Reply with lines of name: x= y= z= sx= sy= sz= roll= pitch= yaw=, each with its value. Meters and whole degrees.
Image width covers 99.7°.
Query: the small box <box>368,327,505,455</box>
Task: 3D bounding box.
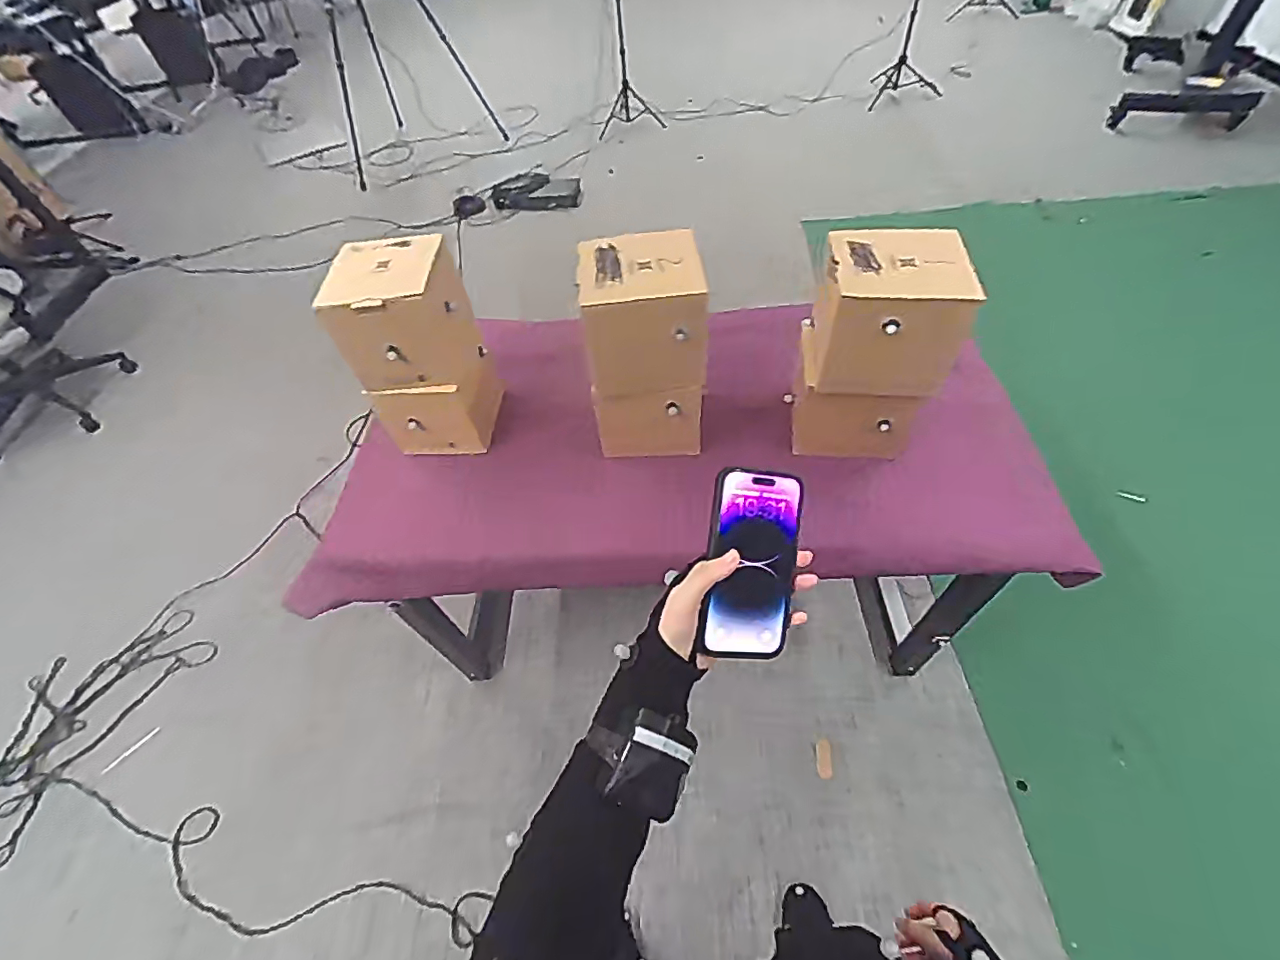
small box: x=-0.365 y=-0.159 z=1.007 sx=0.168 sy=0.176 sz=0.179 roll=-1 pitch=52 yaw=6

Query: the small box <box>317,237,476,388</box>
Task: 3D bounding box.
small box: x=-0.380 y=-0.265 z=0.883 sx=0.168 sy=0.176 sz=0.179 roll=-5 pitch=53 yaw=2

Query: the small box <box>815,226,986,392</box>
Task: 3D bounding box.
small box: x=0.355 y=-0.242 z=0.780 sx=0.179 sy=0.176 sz=0.168 roll=3 pitch=53 yaw=8

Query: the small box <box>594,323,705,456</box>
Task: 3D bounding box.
small box: x=0.023 y=-0.156 z=0.958 sx=0.179 sy=0.176 sz=0.168 roll=-2 pitch=52 yaw=5

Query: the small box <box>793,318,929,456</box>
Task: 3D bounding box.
small box: x=0.362 y=-0.155 z=0.919 sx=0.179 sy=0.176 sz=0.168 roll=3 pitch=53 yaw=10
